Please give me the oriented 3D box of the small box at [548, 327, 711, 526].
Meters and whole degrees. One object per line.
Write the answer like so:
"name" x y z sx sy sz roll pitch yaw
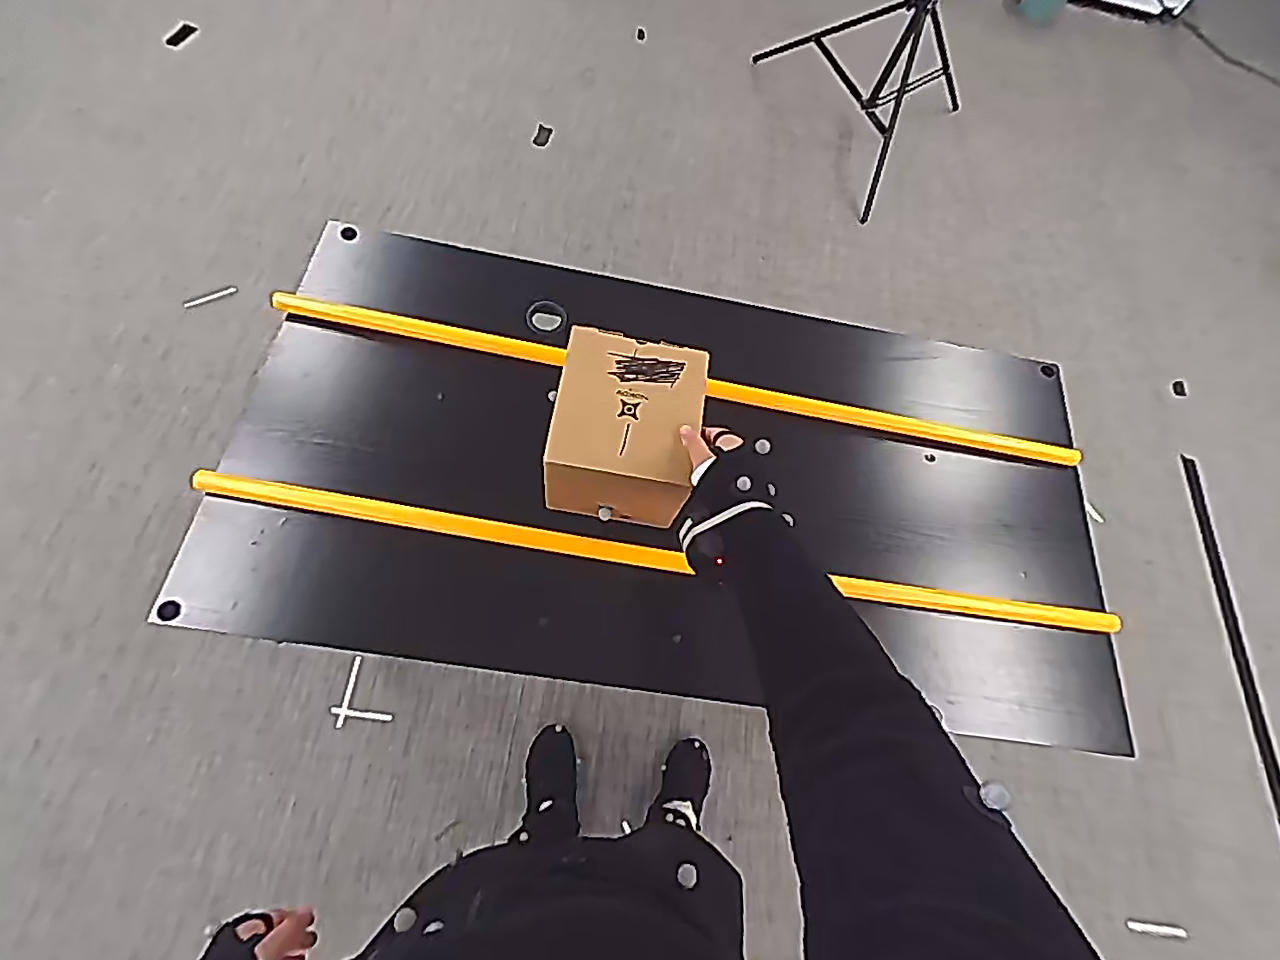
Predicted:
"small box" -0.018 -0.057 0.680 0.168 0.176 0.179 10 69 -4
